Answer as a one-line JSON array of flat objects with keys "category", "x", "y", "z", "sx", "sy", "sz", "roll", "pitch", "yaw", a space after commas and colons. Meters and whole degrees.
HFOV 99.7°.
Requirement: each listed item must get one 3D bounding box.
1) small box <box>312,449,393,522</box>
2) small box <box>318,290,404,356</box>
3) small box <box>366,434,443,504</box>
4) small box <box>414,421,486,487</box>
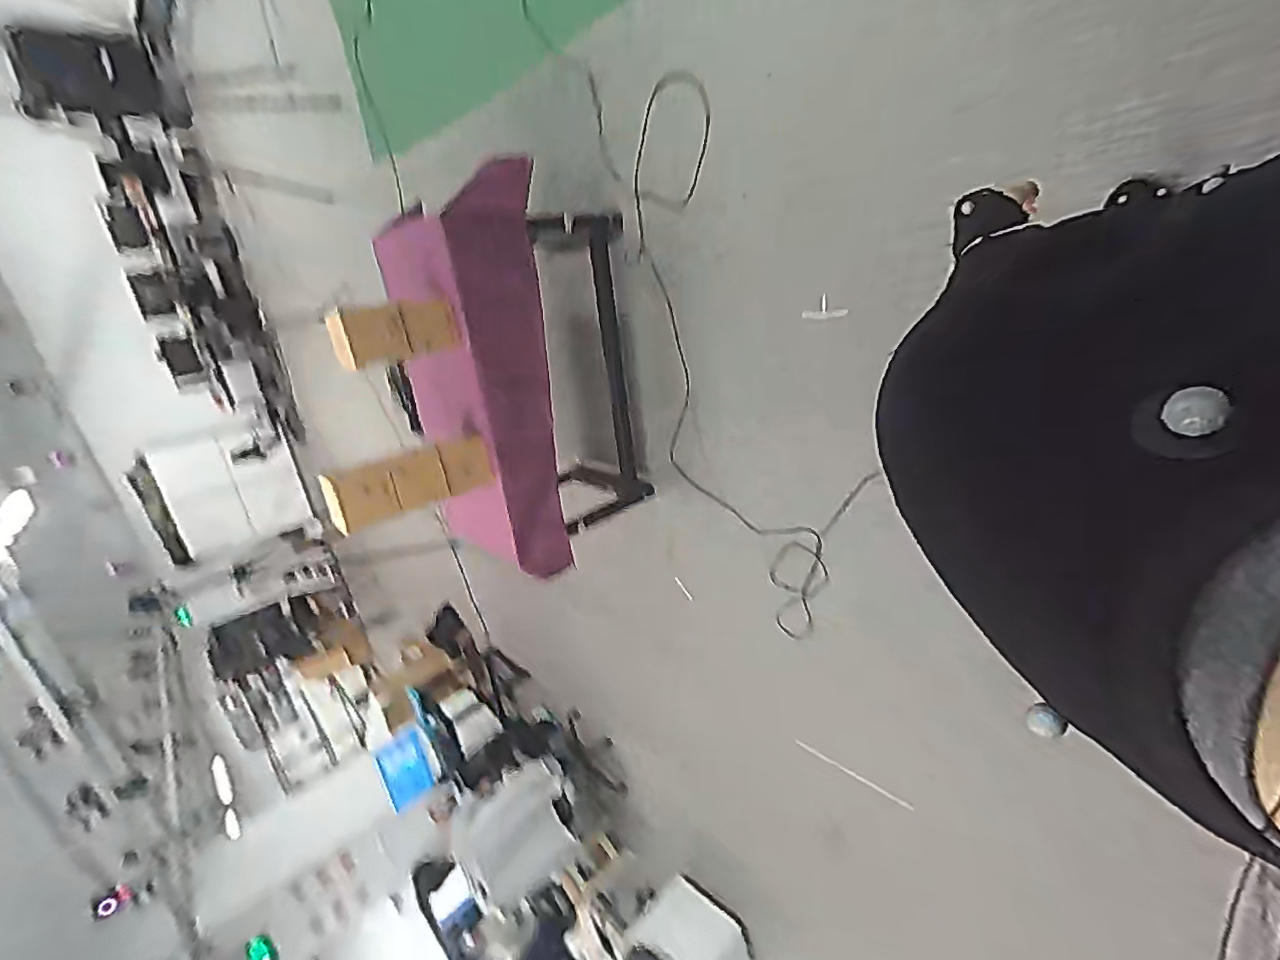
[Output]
[{"category": "small box", "x": -0.896, "y": 0.010, "z": 1.697, "sx": 0.179, "sy": 0.176, "sz": 0.168, "roll": 17, "pitch": 120, "yaw": 46}, {"category": "small box", "x": -0.836, "y": -0.472, "z": 1.628, "sx": 0.179, "sy": 0.176, "sz": 0.168, "roll": 12, "pitch": 119, "yaw": 47}, {"category": "small box", "x": -0.776, "y": -0.041, "z": 1.795, "sx": 0.168, "sy": 0.176, "sz": 0.179, "roll": 13, "pitch": 118, "yaw": 47}, {"category": "small box", "x": -0.662, "y": -0.096, "z": 1.897, "sx": 0.168, "sy": 0.176, "sz": 0.179, "roll": 12, "pitch": 118, "yaw": 46}]
